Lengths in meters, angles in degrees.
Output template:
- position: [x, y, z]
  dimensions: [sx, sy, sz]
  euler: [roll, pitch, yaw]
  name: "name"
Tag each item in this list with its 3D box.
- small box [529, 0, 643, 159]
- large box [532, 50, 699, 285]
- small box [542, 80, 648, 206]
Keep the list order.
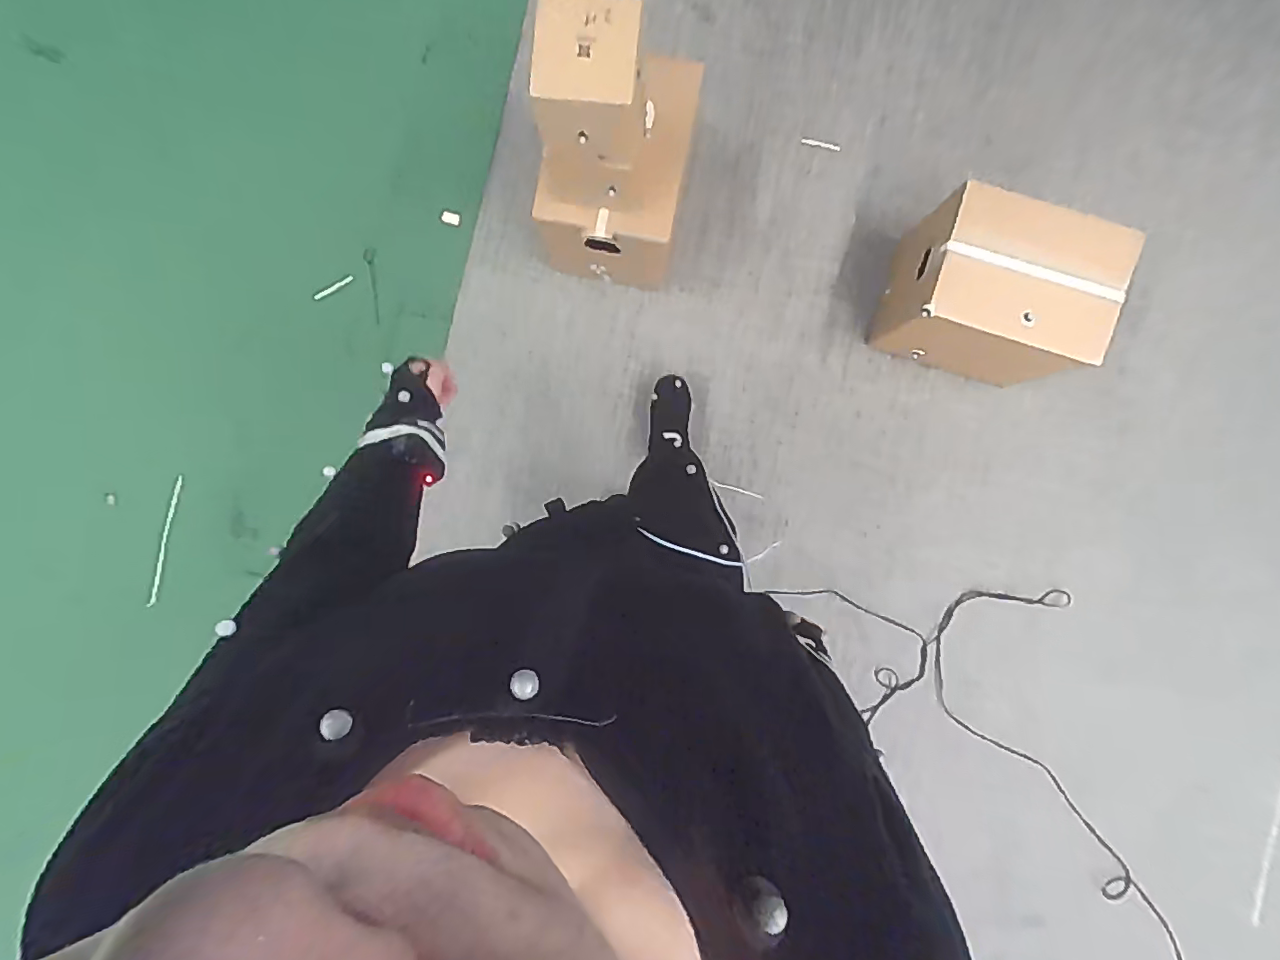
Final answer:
- position: [-0.084, -0.687, 0.927]
  dimensions: [0.168, 0.176, 0.179]
  euler: [6, 90, 0]
  name: "small box"
- position: [-0.051, -0.750, 1.334]
  dimensions: [0.320, 0.320, 0.408]
  euler: [12, 90, 0]
  name: "large box"
- position: [-0.084, -0.682, 1.092]
  dimensions: [0.179, 0.176, 0.168]
  euler: [11, 90, 1]
  name: "small box"
